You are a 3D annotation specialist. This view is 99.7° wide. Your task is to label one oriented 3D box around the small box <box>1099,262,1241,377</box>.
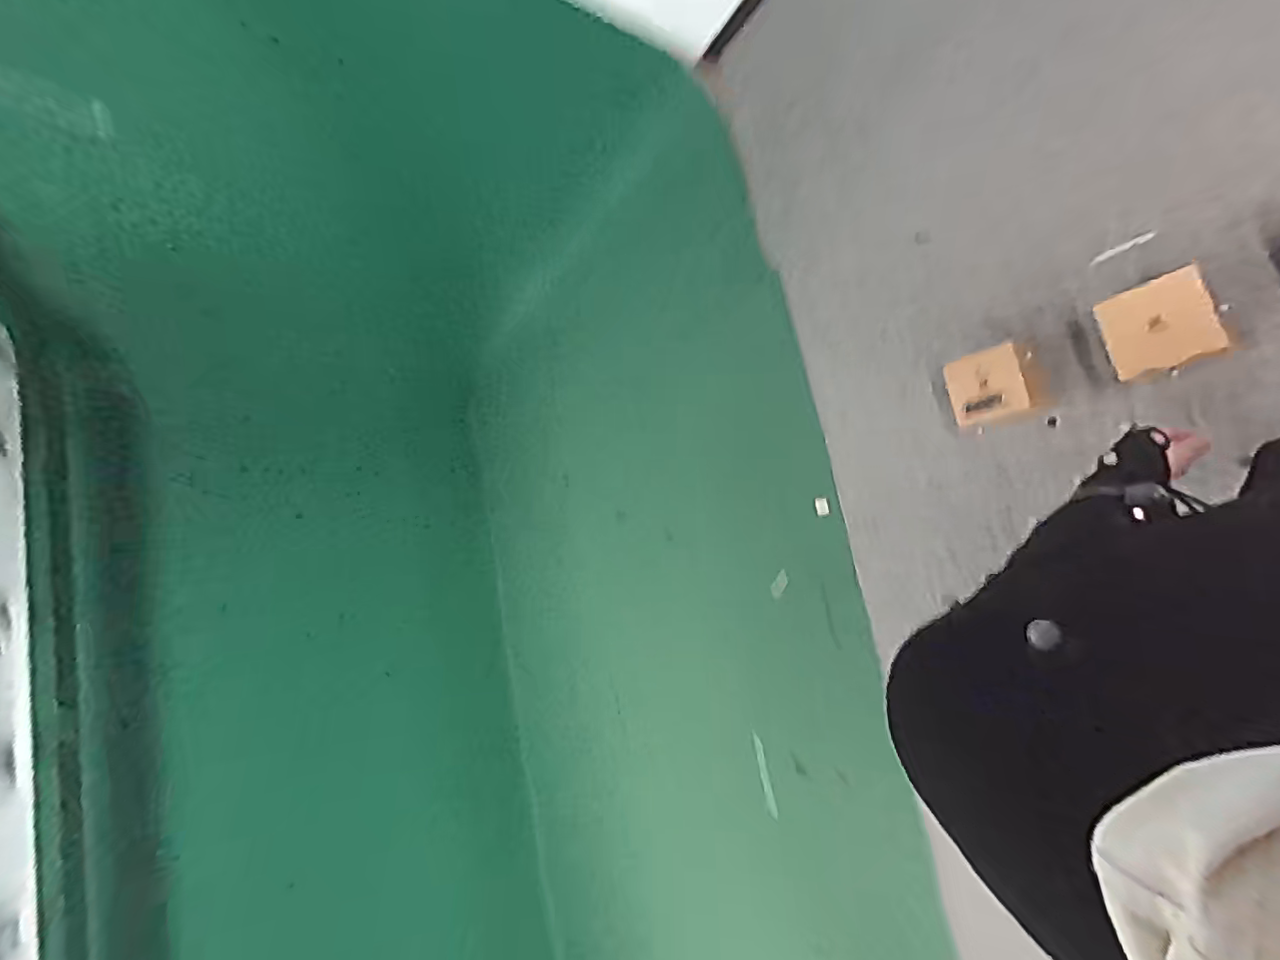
[{"bbox_3d":[1.127,-0.331,1.151,0.168,0.176,0.179,-25,75,51],"label":"small box"}]
